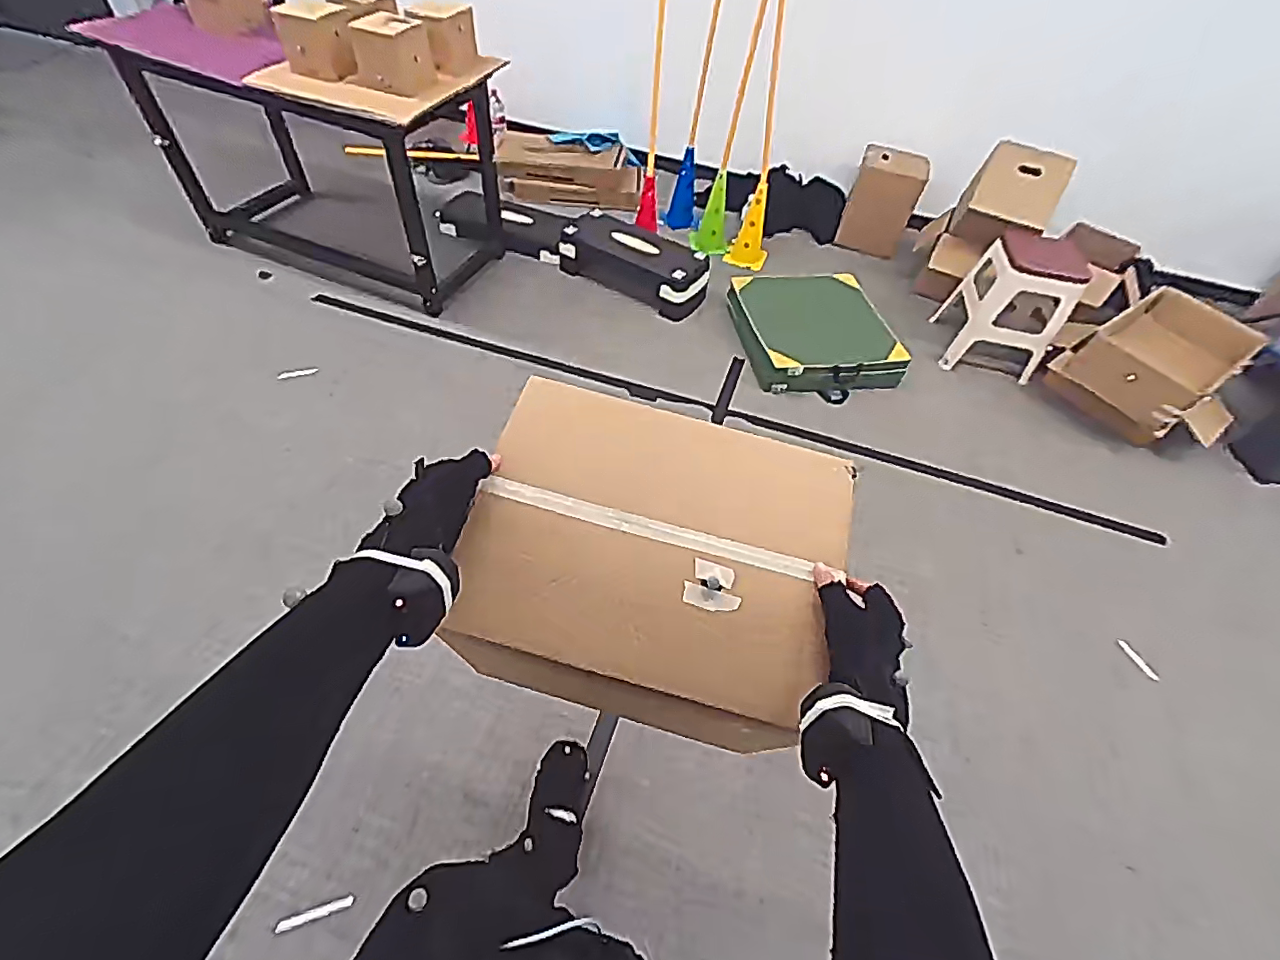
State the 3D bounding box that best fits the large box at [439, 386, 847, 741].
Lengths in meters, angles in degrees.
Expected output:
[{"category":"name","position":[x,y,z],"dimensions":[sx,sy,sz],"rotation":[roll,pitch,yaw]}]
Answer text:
[{"category":"large box","position":[0.010,0.129,0.729],"dimensions":[0.408,0.320,0.320],"rotation":[16,62,3]}]
